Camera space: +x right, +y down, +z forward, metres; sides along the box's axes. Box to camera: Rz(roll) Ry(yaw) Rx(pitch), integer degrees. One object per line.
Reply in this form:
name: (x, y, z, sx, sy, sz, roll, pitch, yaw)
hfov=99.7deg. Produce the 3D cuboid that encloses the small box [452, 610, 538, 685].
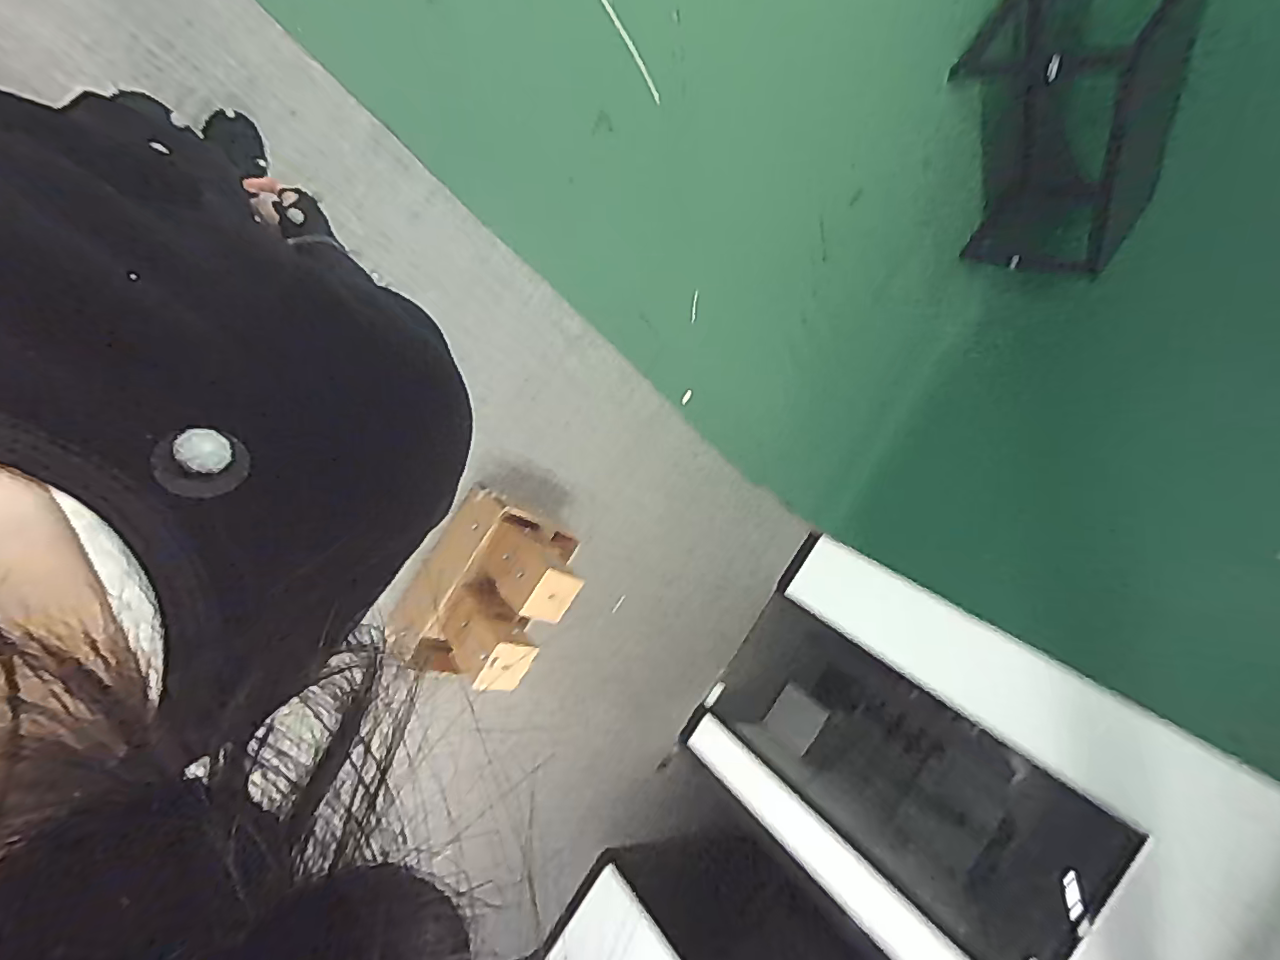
small box: (-0.472, 0.543, 1.755, 0.179, 0.176, 0.168, 30, 92, -49)

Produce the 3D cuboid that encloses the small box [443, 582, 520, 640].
small box: (-0.557, 0.478, 1.881, 0.168, 0.176, 0.179, 25, 97, -47)

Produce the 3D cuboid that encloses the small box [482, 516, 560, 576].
small box: (-0.418, 0.247, 1.871, 0.168, 0.176, 0.179, 26, 97, -48)

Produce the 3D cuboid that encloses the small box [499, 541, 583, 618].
small box: (-0.326, 0.320, 1.756, 0.179, 0.176, 0.168, 33, 92, -48)
